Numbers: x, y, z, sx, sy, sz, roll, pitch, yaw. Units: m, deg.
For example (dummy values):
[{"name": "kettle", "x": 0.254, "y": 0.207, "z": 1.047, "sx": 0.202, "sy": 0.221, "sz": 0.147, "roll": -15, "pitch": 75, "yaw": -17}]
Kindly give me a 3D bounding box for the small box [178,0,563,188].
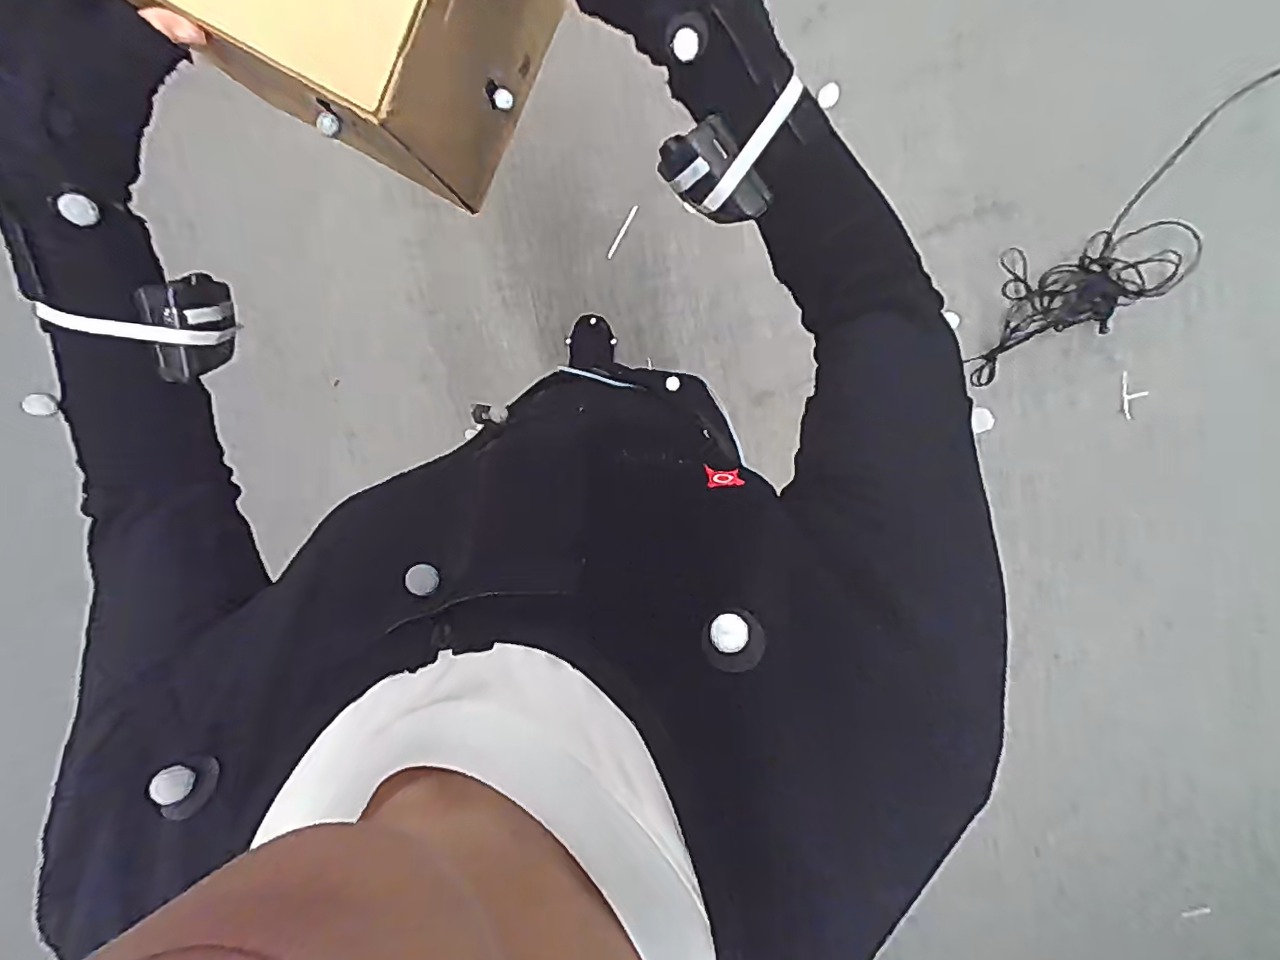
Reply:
[{"name": "small box", "x": -0.164, "y": -0.315, "z": 0.330, "sx": 0.179, "sy": 0.176, "sz": 0.168, "roll": 28, "pitch": 100, "yaw": -8}]
